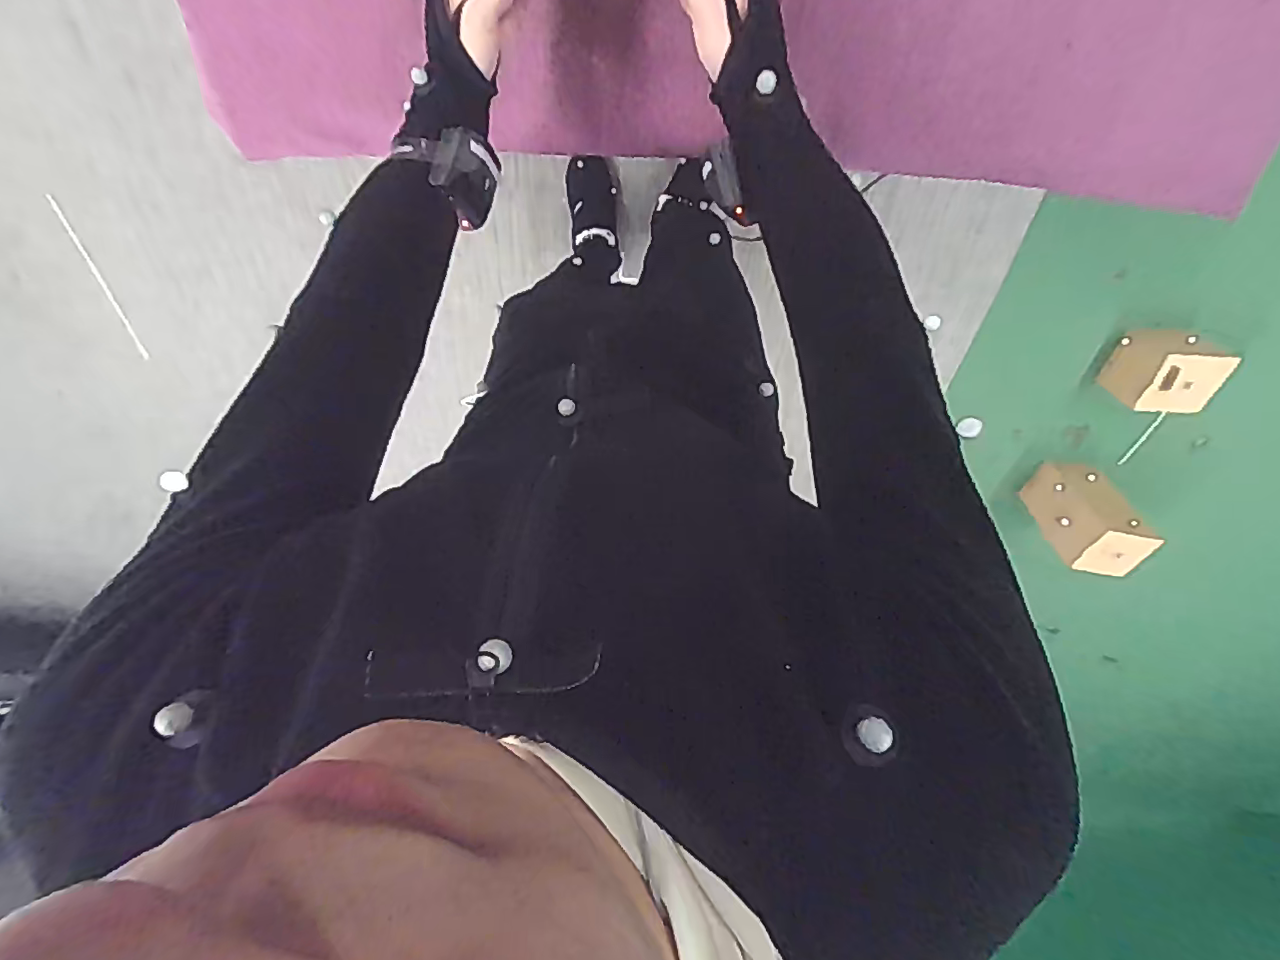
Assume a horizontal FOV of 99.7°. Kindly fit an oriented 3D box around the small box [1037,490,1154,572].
[{"bbox_3d":[1.366,0.151,1.636,0.179,0.176,0.168,10,131,-4],"label":"small box"}]

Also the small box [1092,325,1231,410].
[{"bbox_3d":[1.387,-0.306,1.457,0.179,0.176,0.168,3,131,1],"label":"small box"}]
